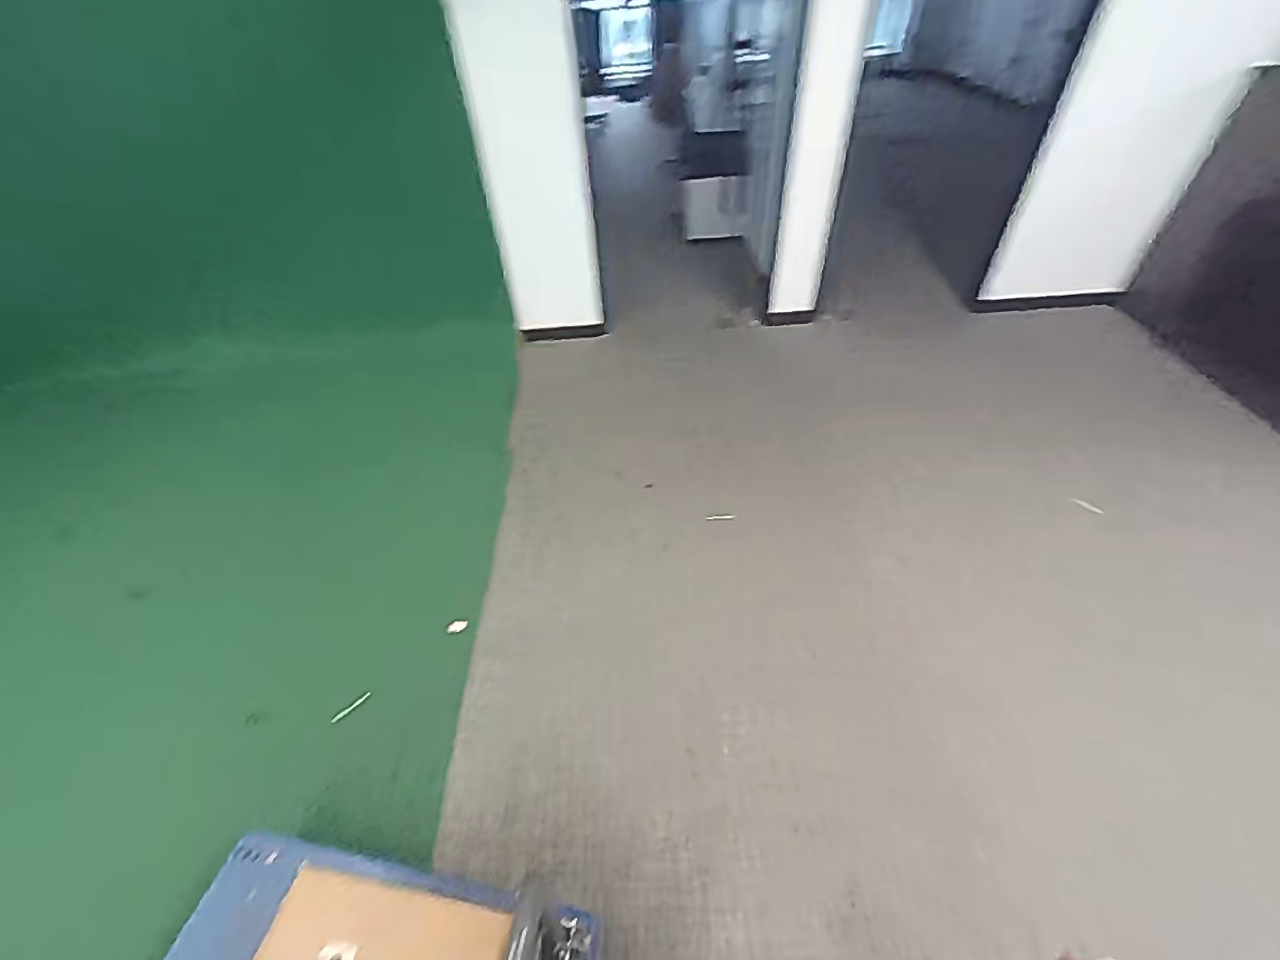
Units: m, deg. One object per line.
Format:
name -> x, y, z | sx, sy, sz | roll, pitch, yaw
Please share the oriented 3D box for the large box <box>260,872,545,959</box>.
large box -> -0.417, 0.921, 0.928 | 0.408, 0.320, 0.320 | 5, 45, 9
